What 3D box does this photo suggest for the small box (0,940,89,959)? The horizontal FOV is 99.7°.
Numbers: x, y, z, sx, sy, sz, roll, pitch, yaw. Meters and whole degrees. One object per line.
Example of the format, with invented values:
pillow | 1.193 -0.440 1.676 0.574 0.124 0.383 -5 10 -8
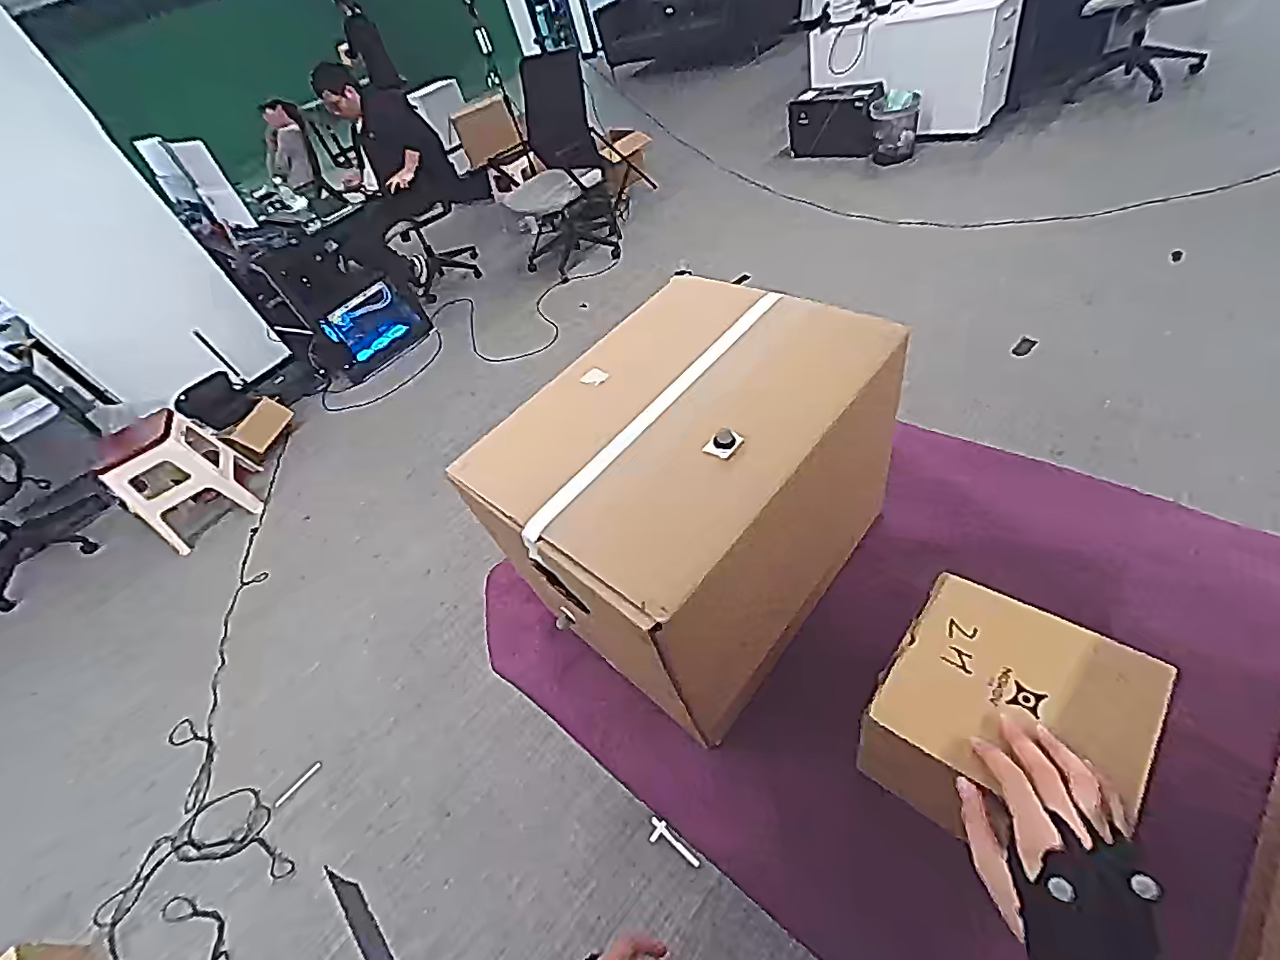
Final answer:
small box | -1.409 1.203 1.230 0.179 0.176 0.168 23 61 34
